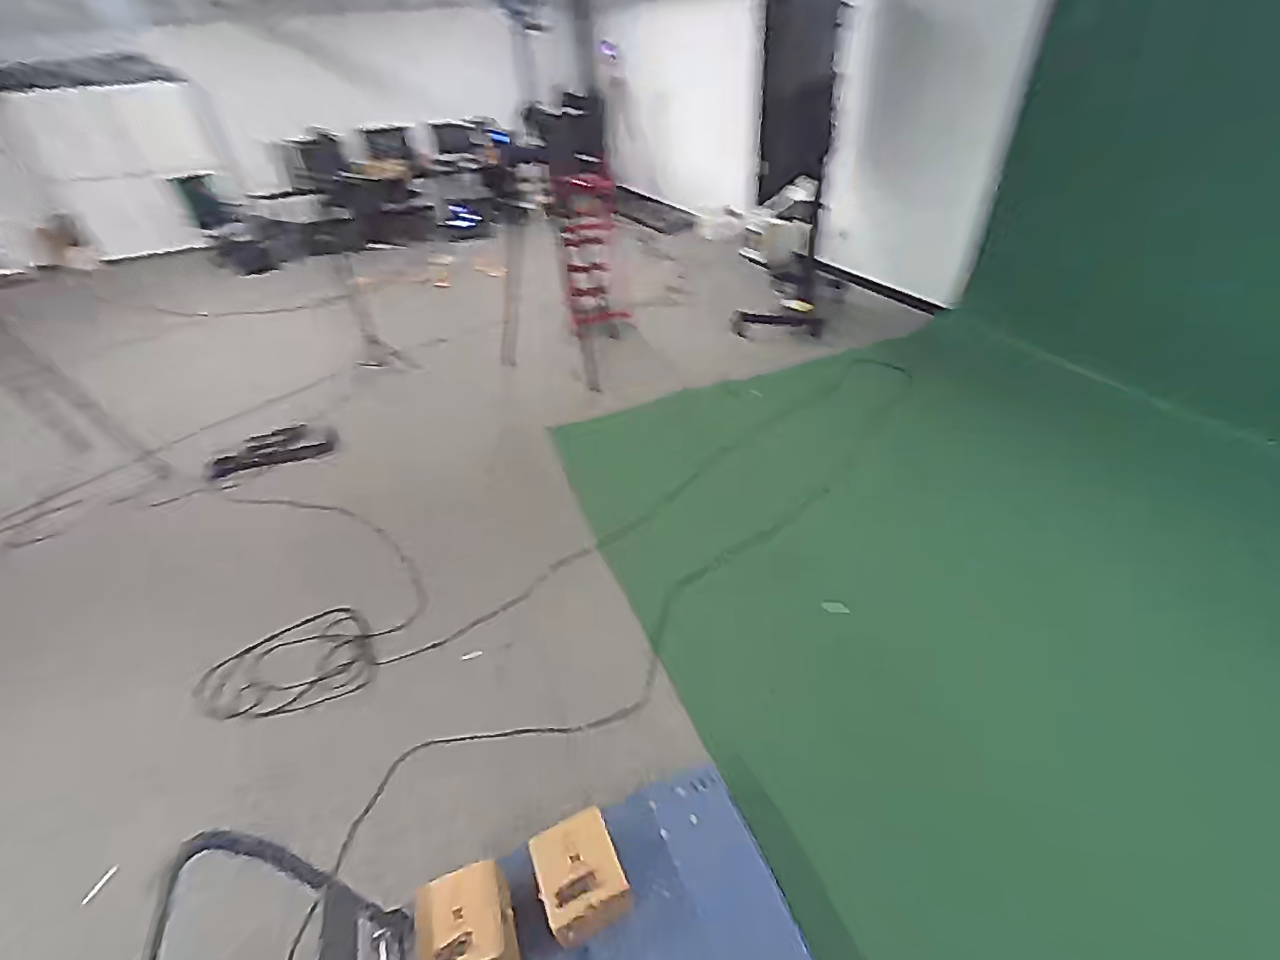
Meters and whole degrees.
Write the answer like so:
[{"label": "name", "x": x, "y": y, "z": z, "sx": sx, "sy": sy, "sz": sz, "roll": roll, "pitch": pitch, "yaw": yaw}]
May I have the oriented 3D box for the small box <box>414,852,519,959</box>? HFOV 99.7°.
[{"label": "small box", "x": -0.360, "y": 0.928, "z": 1.127, "sx": 0.168, "sy": 0.176, "sz": 0.179, "roll": -16, "pitch": 39, "yaw": -13}]
